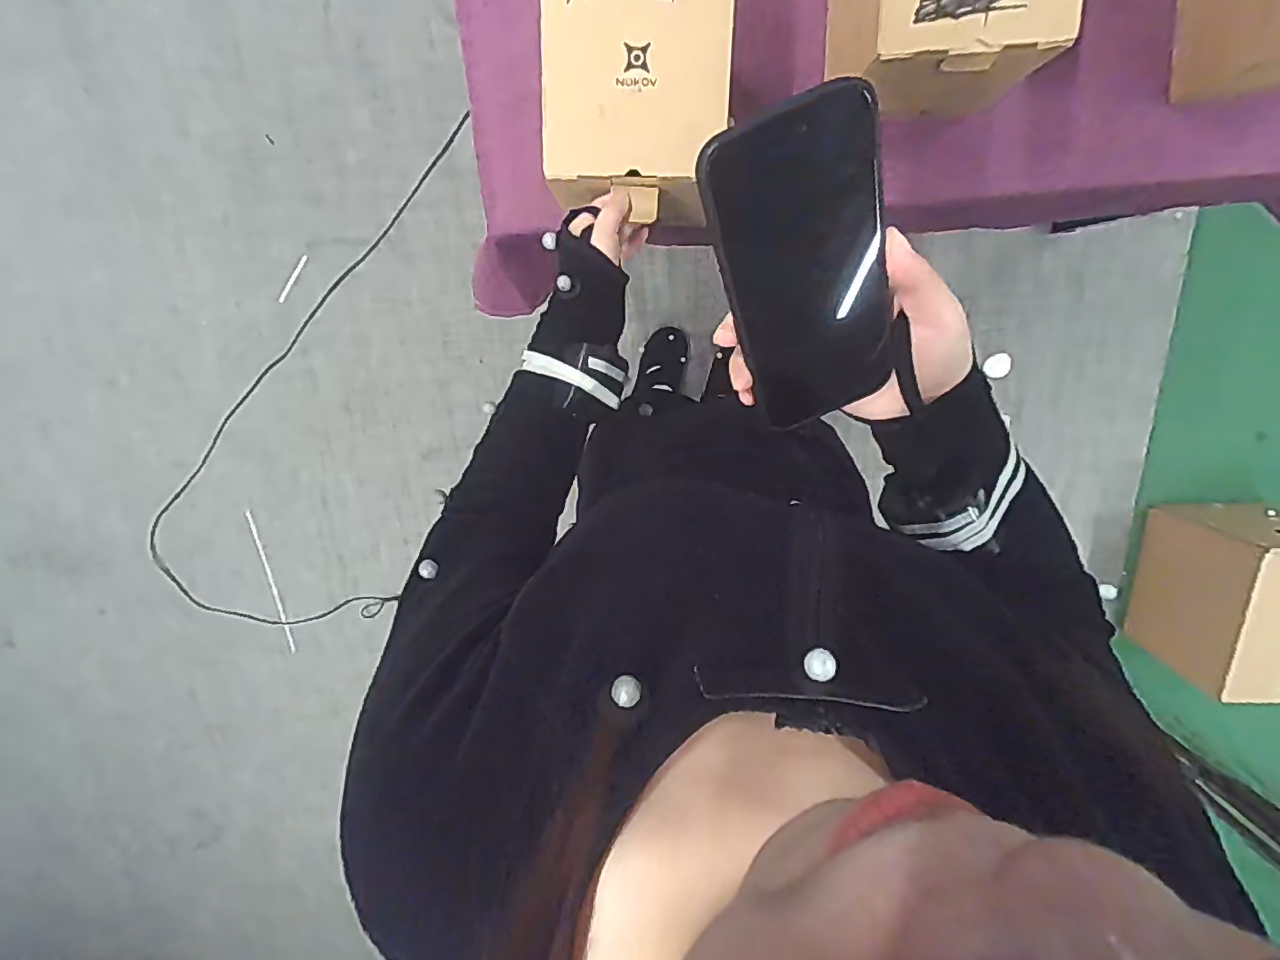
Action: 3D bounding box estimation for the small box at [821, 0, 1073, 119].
[{"bbox_3d":[0.278,-0.467,0.513,0.168,0.176,0.179,-2,106,3],"label":"small box"}]

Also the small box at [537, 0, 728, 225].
[{"bbox_3d":[-0.005,-0.369,0.547,0.168,0.176,0.179,2,102,2],"label":"small box"}]
